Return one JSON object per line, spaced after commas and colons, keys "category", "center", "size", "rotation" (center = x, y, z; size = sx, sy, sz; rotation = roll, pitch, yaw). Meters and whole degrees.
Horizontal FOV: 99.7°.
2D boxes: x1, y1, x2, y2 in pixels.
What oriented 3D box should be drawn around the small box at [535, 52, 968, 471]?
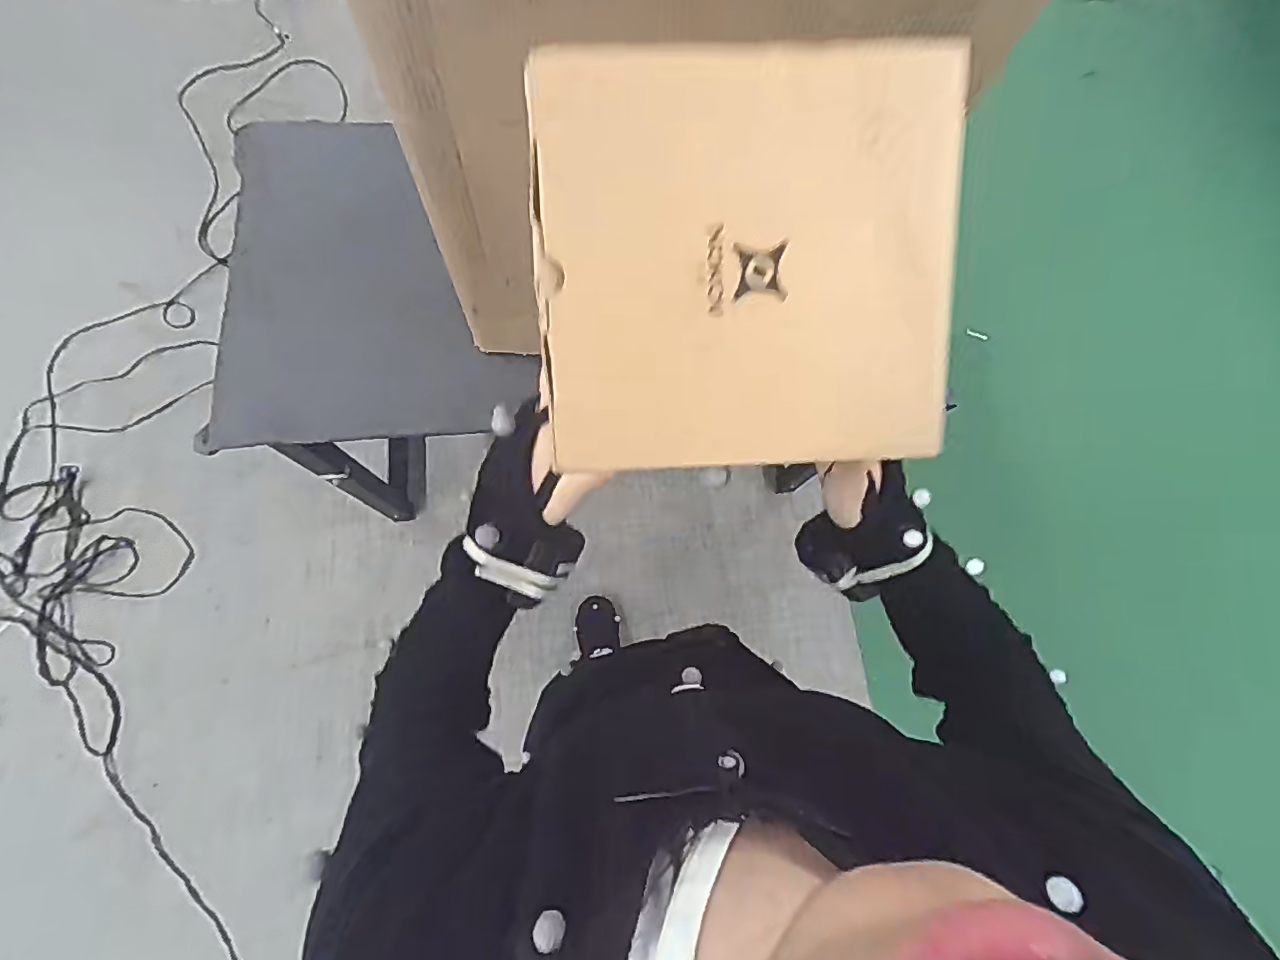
{"category": "small box", "center": [0.045, -0.103, 0.307], "size": [0.179, 0.176, 0.168], "rotation": [-3, 101, -1]}
